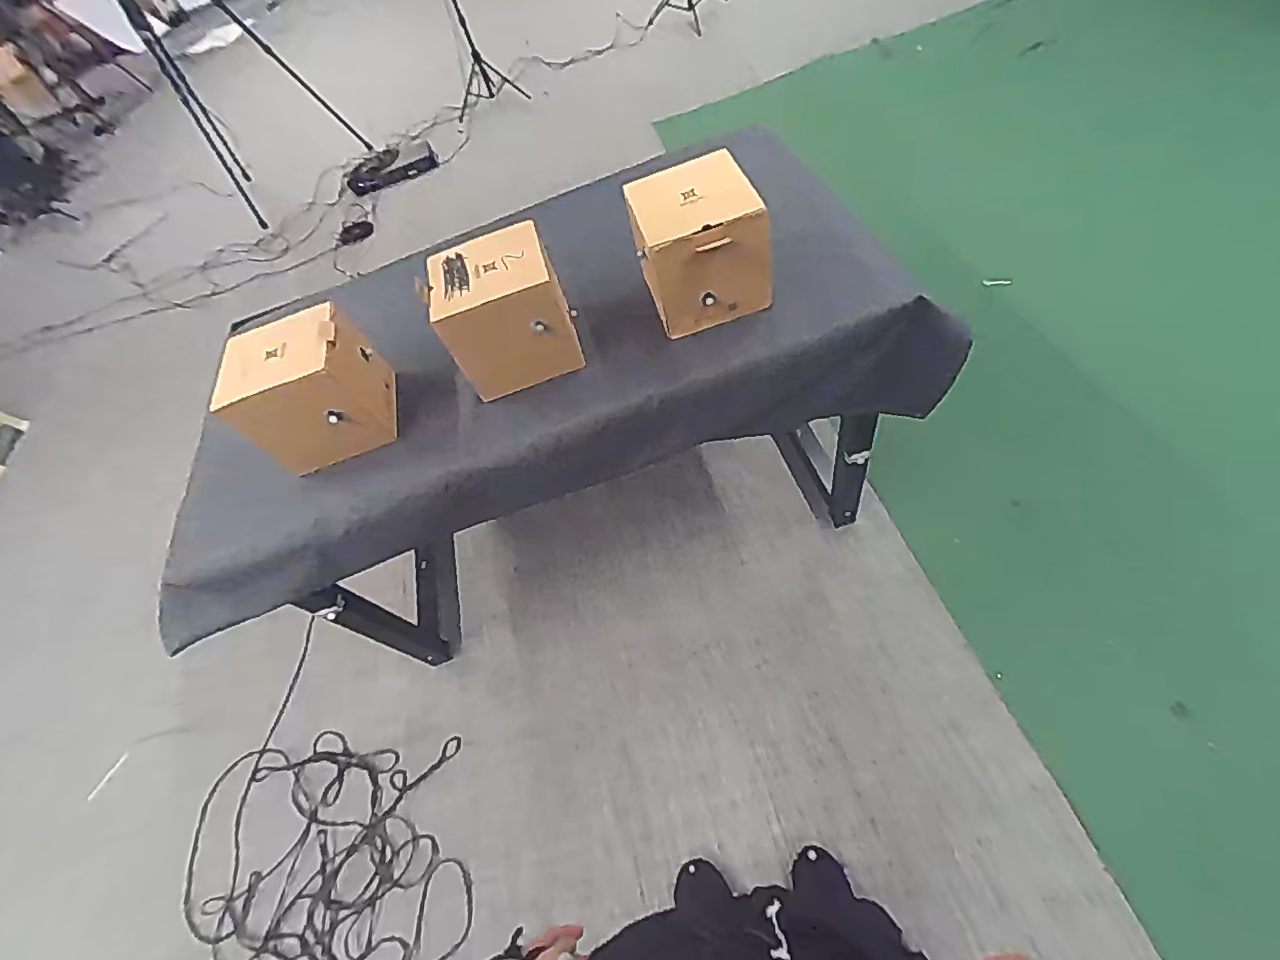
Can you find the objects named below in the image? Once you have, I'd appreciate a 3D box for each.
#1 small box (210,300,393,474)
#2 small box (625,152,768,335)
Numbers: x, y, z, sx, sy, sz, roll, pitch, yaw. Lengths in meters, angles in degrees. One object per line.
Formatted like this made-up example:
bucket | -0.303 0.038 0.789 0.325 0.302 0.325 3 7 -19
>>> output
small box | -0.508 -0.139 0.843 0.179 0.176 0.168 -21 54 2
small box | 0.088 -0.356 0.828 0.168 0.176 0.179 -18 56 3
